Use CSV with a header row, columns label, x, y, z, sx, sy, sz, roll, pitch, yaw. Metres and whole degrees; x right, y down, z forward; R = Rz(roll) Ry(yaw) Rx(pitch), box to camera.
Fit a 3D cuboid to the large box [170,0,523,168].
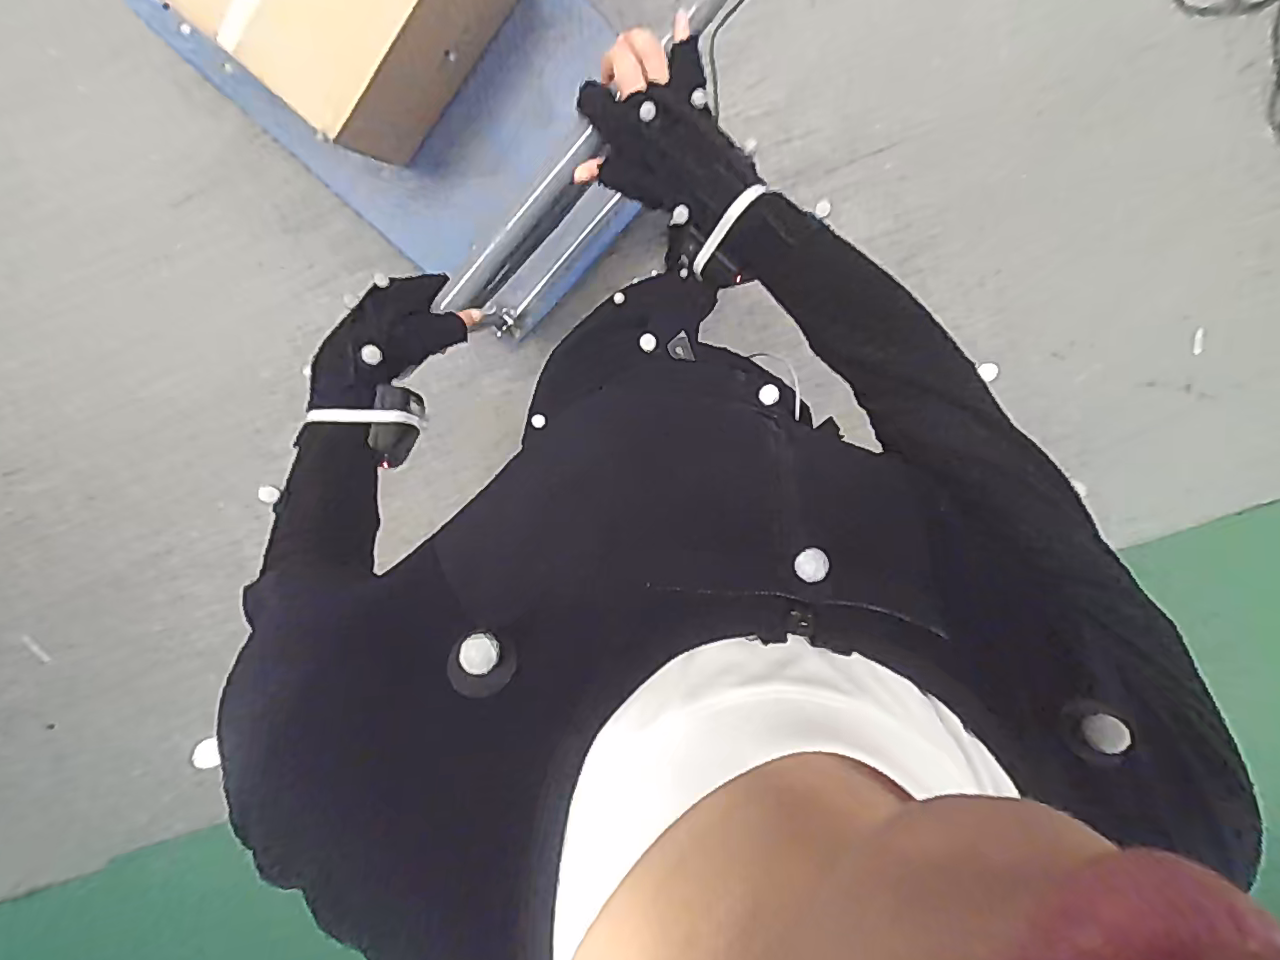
label,x,y,z,sx,sy,sz,roll,pitch,yaw
large box,-0.411,-0.768,0.819,0.320,0.320,0.408,38,107,-17
